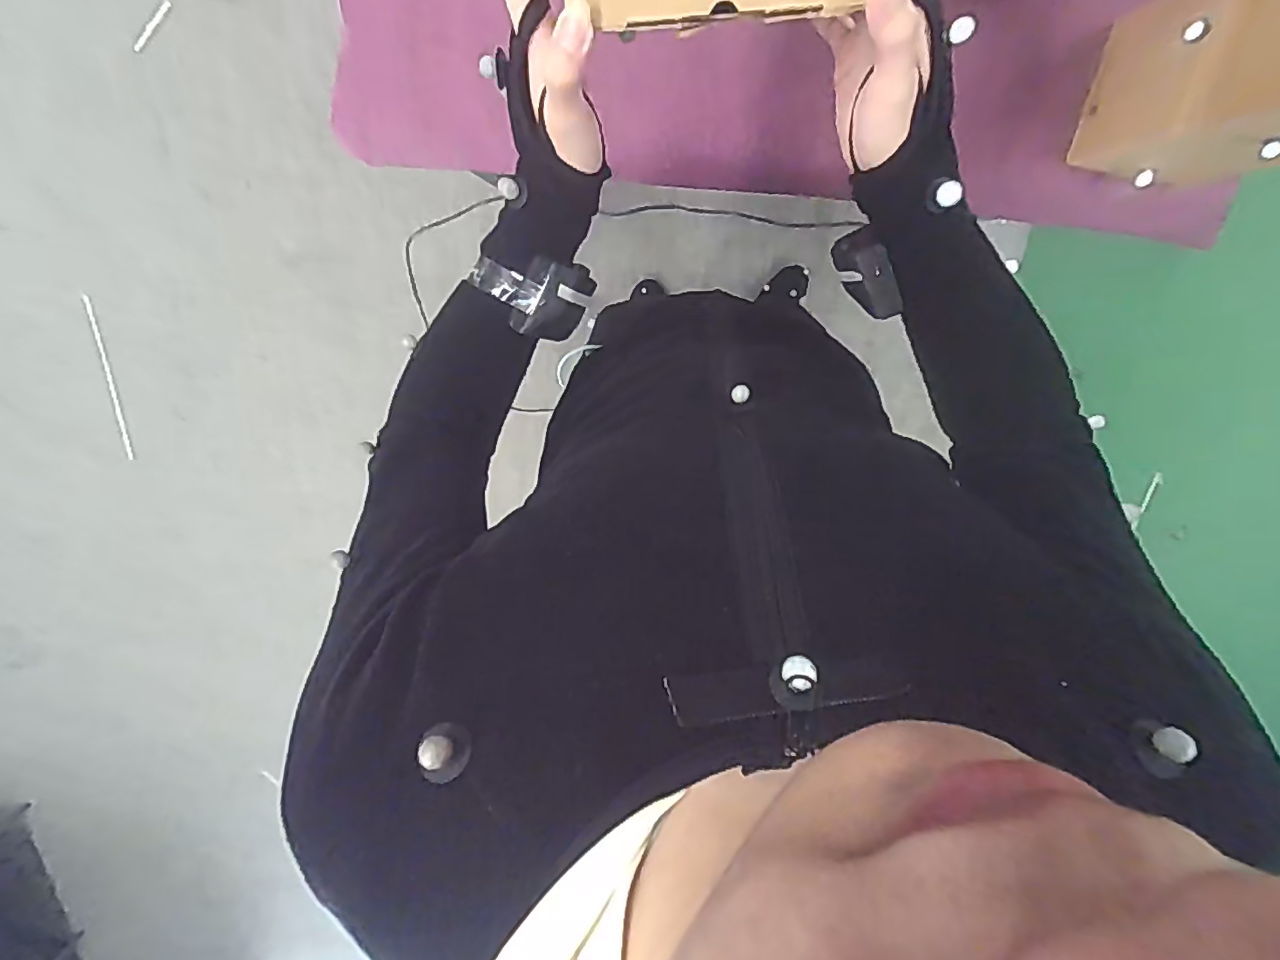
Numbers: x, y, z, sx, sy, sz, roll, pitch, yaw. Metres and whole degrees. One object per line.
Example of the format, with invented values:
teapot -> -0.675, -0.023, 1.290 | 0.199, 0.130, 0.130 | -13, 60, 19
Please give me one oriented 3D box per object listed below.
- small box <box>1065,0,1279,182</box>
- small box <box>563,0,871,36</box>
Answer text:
small box -> 0.675, -0.469, 0.644 | 0.179, 0.176, 0.168 | 8, 109, -3
small box -> 0.036, -0.360, 0.286 | 0.168, 0.176, 0.179 | -4, 132, 2
